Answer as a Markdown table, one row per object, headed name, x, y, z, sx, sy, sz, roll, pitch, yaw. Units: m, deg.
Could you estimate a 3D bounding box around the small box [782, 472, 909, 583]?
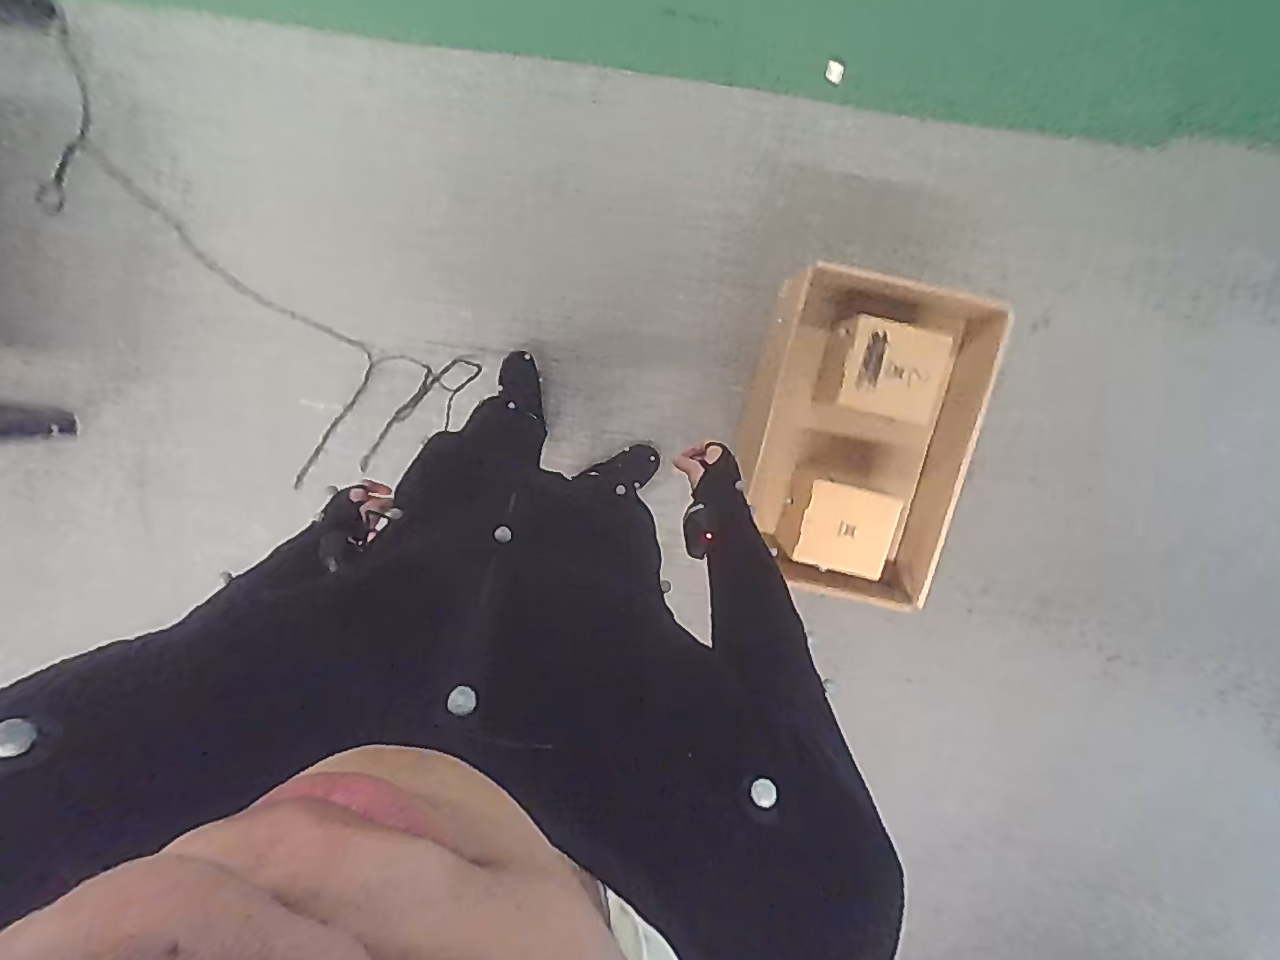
| name | x | y | z | sx | sy | sz | roll | pitch | yaw |
| --- | --- | --- | --- | --- | --- | --- | --- | --- | --- |
| small box | 0.409 | 0.087 | 1.107 | 0.179 | 0.176 | 0.168 | 14 | 100 | 1 |
